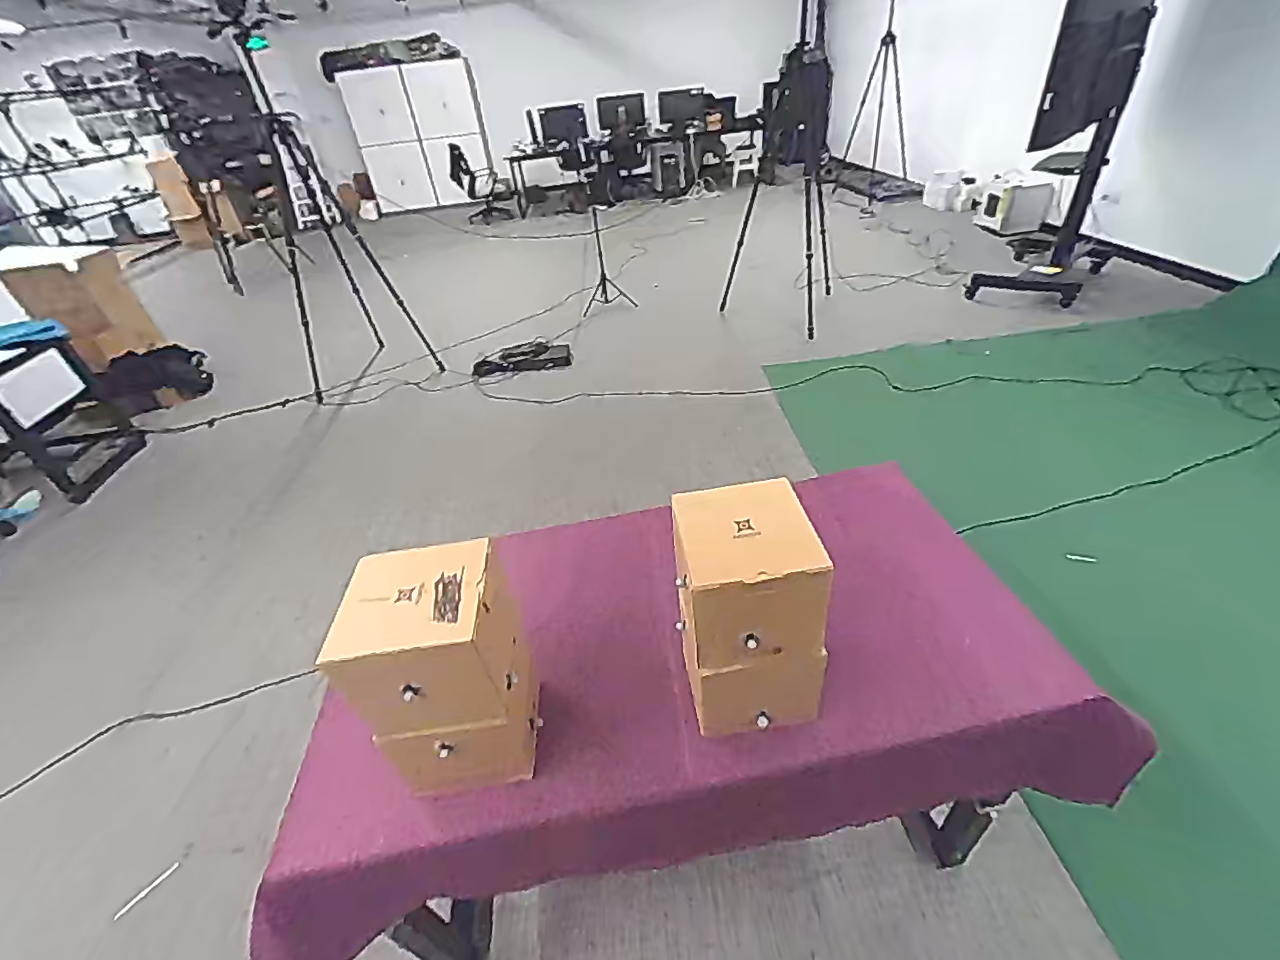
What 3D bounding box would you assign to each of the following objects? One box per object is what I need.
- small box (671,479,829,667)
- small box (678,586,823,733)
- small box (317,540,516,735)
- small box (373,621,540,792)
[{"bbox_3d":[0.138,0.125,0.737,0.168,0.176,0.179,-9,38,-1],"label":"small box"},{"bbox_3d":[0.158,0.260,0.827,0.179,0.176,0.168,-9,37,-2],"label":"small box"},{"bbox_3d":[-0.268,0.204,0.702,0.179,0.176,0.168,-9,38,-1],"label":"small box"},{"bbox_3d":[-0.256,0.335,0.800,0.179,0.176,0.168,-8,38,-1],"label":"small box"}]
